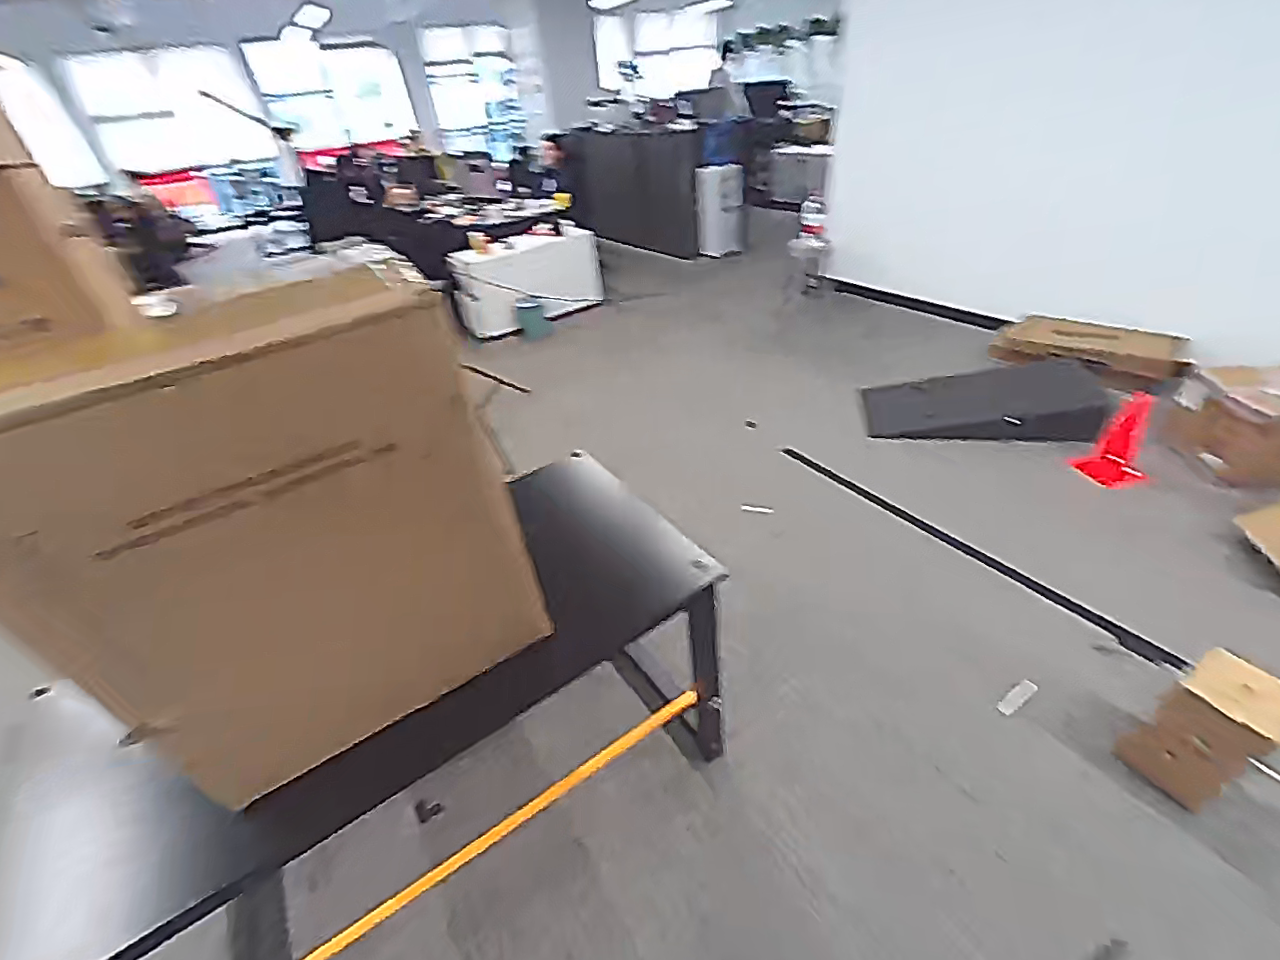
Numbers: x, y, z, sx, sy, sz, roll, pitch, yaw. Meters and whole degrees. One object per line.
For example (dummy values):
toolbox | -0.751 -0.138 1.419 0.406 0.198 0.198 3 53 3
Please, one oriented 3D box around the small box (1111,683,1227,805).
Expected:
small box | 1.317 0.646 1.324 0.168 0.176 0.179 -24 40 -20

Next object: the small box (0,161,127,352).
small box | -0.733 -0.247 0.609 0.168 0.176 0.179 -25 40 -24

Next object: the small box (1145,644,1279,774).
small box | 1.308 0.516 1.223 0.179 0.176 0.168 -24 40 -20

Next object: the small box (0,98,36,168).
small box | -0.740 -0.373 0.504 0.168 0.176 0.179 -25 39 -22
